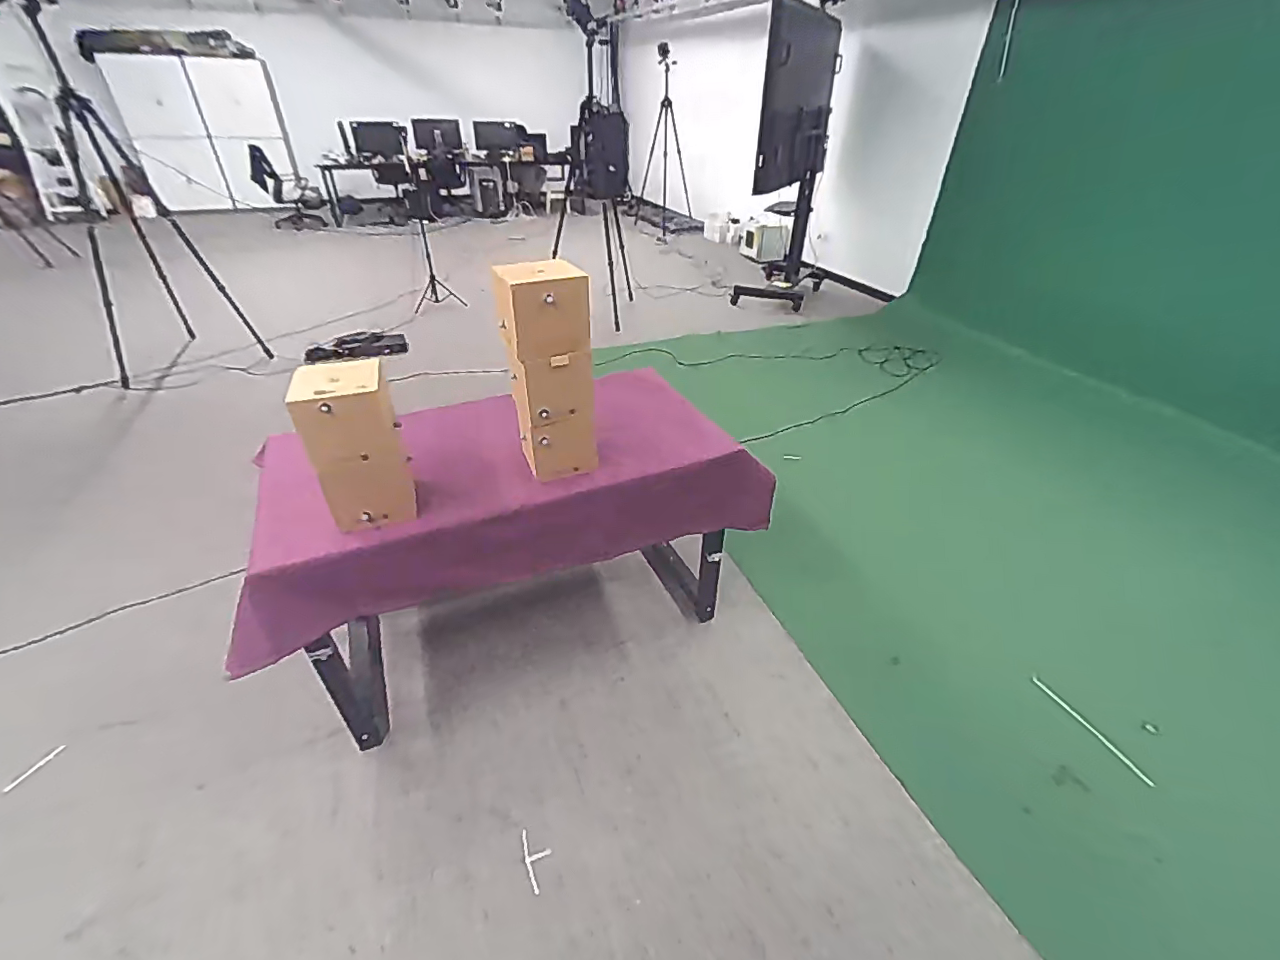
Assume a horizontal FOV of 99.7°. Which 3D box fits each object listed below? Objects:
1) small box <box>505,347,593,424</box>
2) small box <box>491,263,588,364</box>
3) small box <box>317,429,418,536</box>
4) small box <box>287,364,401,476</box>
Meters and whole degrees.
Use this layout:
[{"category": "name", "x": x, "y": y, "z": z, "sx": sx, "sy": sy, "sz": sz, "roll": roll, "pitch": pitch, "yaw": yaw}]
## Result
[{"category": "small box", "x": -0.221, "y": -0.248, "z": 1.328, "sx": 0.168, "sy": 0.176, "sz": 0.179, "roll": -15, "pitch": 37, "yaw": -21}, {"category": "small box", "x": -0.225, "y": -0.382, "z": 1.235, "sx": 0.179, "sy": 0.176, "sz": 0.168, "roll": -17, "pitch": 38, "yaw": -21}, {"category": "small box", "x": -0.622, "y": 0.004, "z": 1.253, "sx": 0.168, "sy": 0.176, "sz": 0.179, "roll": -12, "pitch": 37, "yaw": -16}, {"category": "small box", "x": -0.622, "y": -0.131, "z": 1.158, "sx": 0.168, "sy": 0.176, "sz": 0.179, "roll": -13, "pitch": 36, "yaw": -16}]
